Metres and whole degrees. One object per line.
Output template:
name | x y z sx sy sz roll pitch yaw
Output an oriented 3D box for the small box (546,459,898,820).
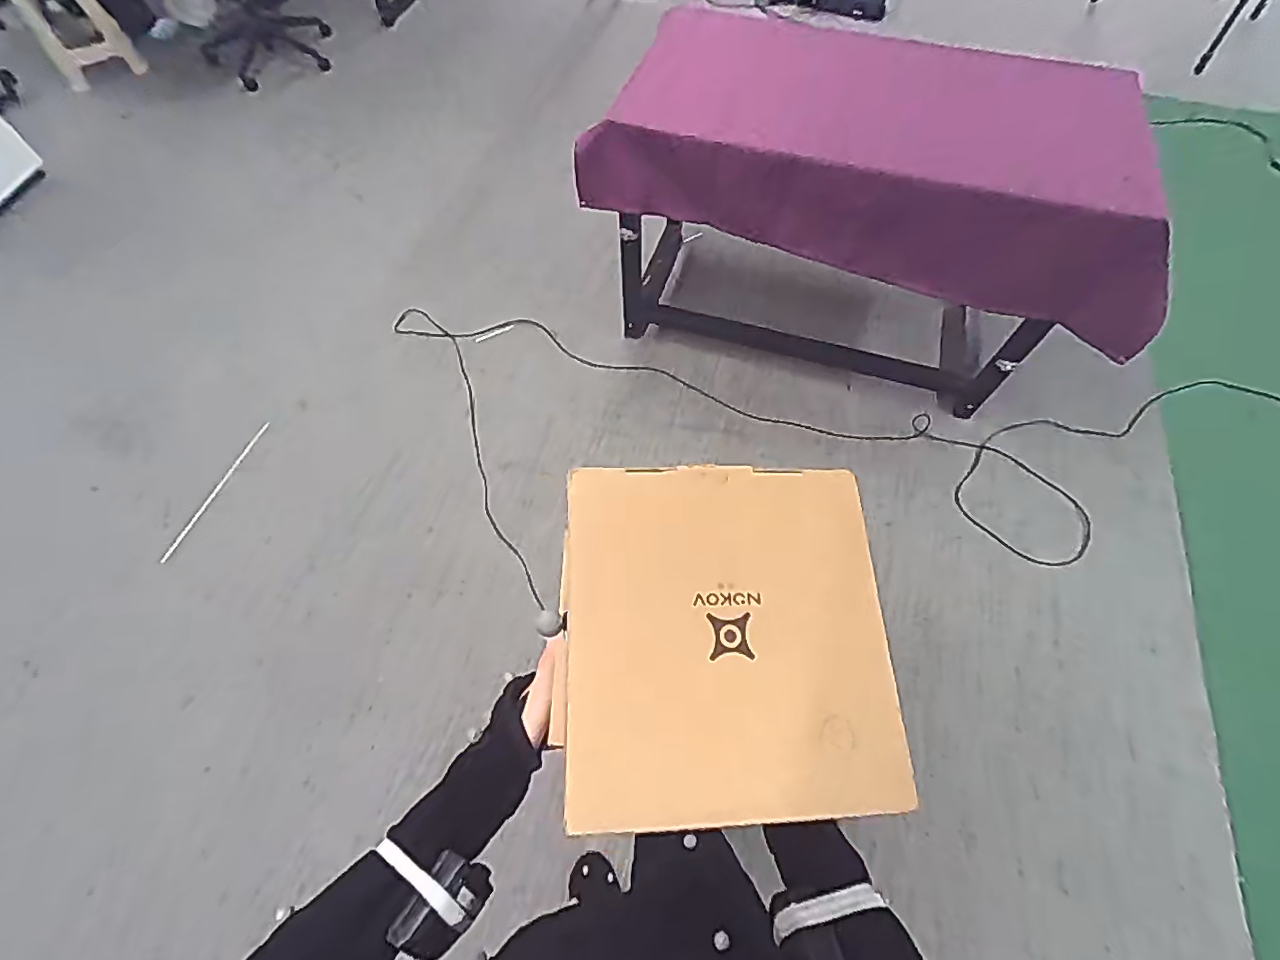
small box | 0.031 0.099 0.349 0.168 0.176 0.179 0 67 -6
